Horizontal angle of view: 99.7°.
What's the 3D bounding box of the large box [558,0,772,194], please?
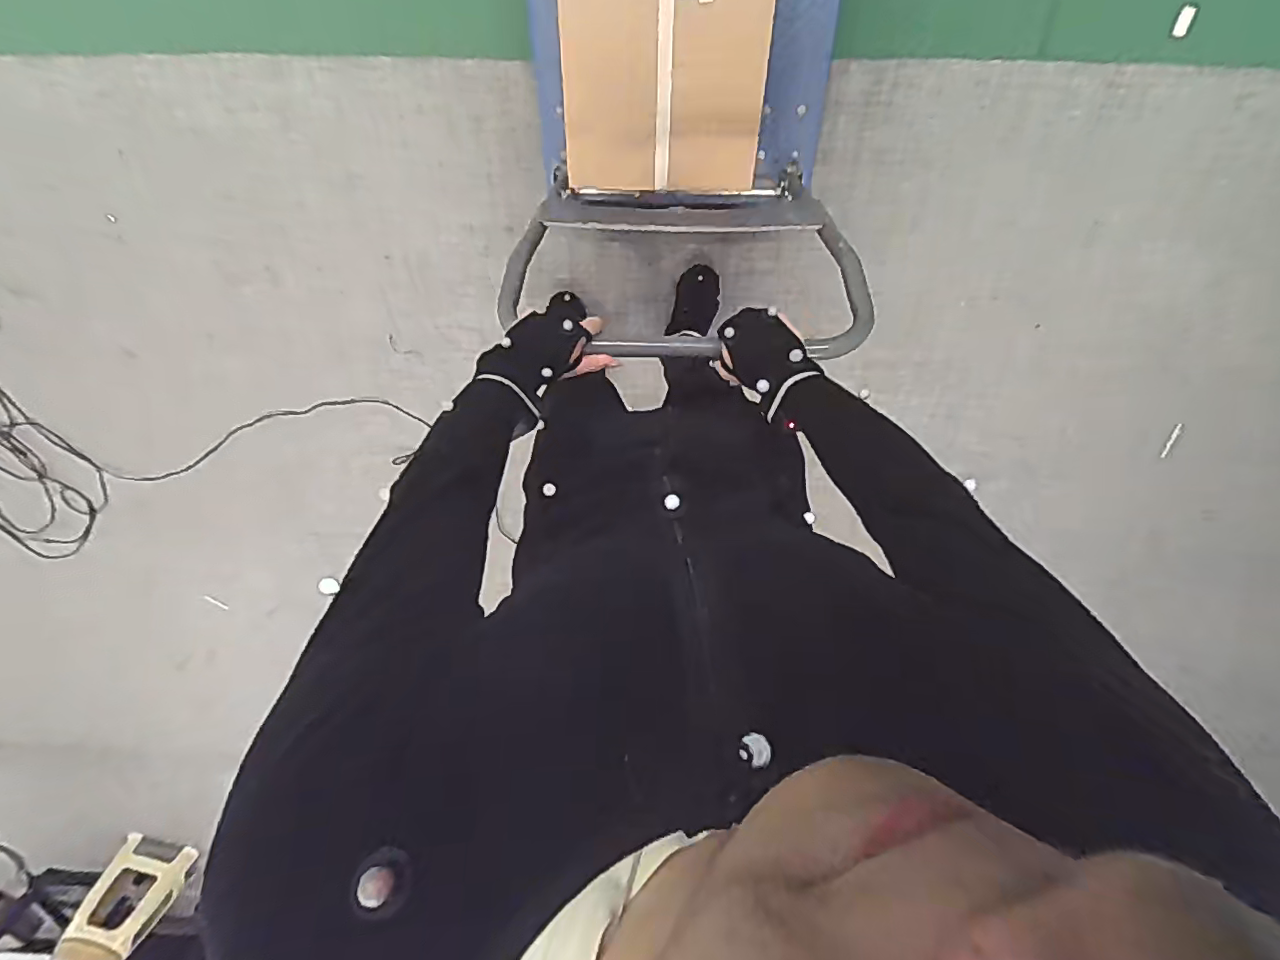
[{"bbox_3d":[0.043,-0.736,0.924,0.320,0.320,0.408,2,127,1],"label":"large box"}]
